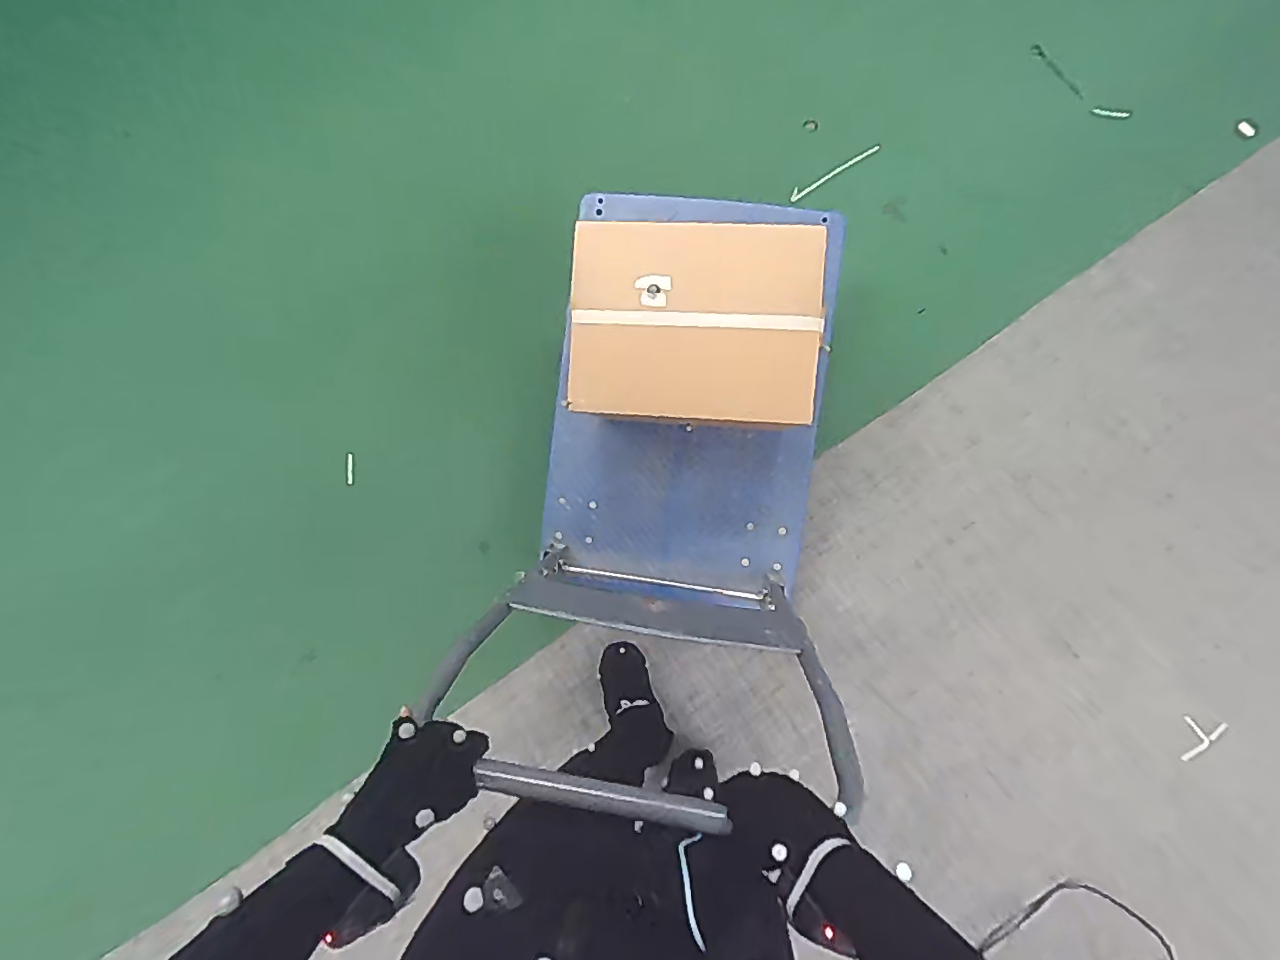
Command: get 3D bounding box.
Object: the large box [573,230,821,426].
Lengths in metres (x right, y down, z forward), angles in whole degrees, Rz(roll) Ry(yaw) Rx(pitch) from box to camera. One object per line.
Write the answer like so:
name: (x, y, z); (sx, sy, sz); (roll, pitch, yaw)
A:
large box: (0.107, -0.265, 1.040); (0.408, 0.320, 0.320); (4, 94, 7)
